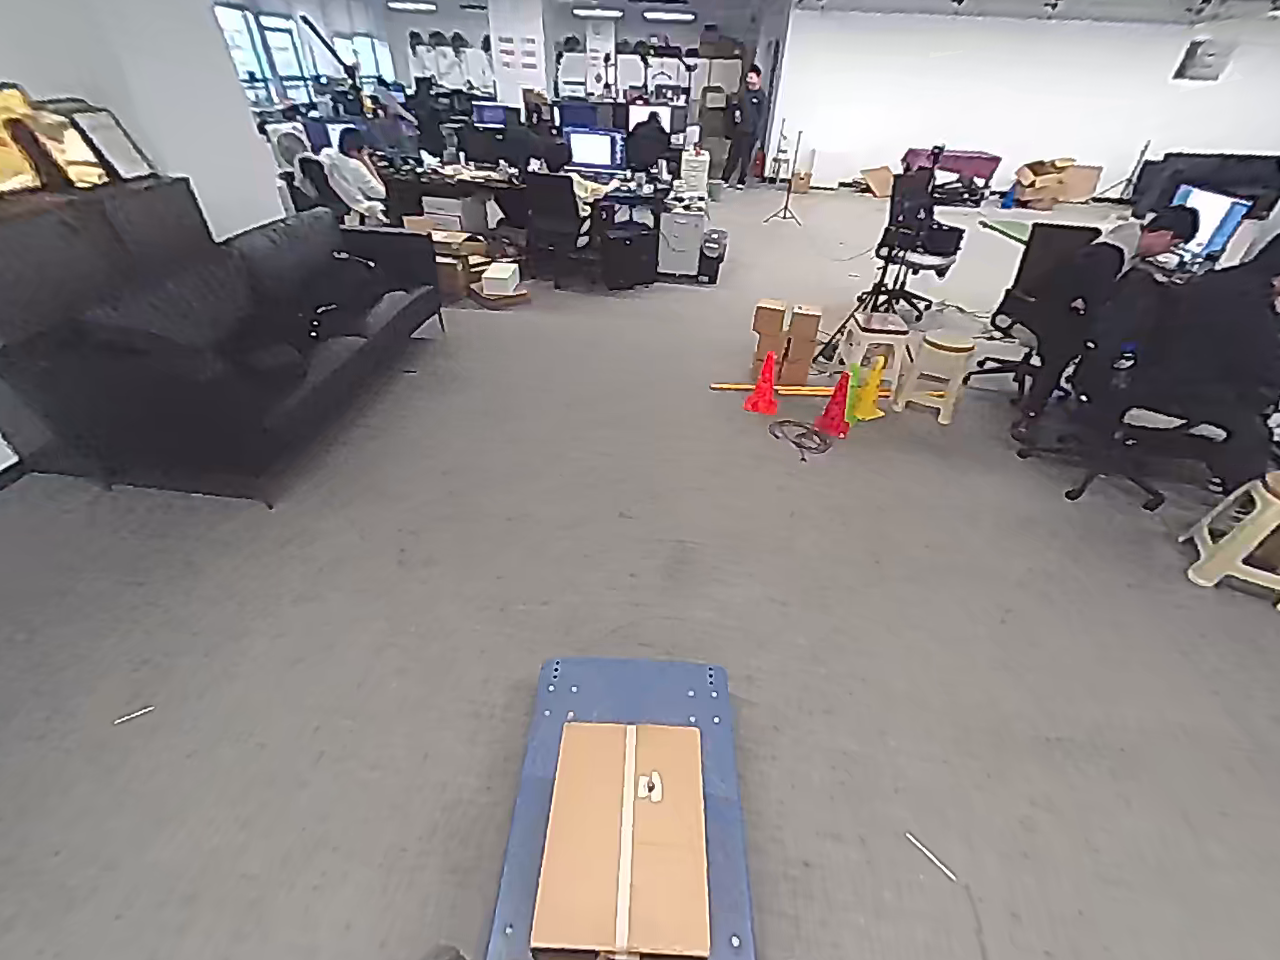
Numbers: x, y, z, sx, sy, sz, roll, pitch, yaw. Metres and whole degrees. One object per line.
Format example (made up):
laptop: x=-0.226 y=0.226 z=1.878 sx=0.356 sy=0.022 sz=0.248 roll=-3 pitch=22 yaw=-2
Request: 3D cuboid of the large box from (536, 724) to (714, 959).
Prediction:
large box: x=-0.025 y=0.799 z=1.161 sx=0.320 sy=0.320 sz=0.408 roll=2 pitch=36 yaw=1
